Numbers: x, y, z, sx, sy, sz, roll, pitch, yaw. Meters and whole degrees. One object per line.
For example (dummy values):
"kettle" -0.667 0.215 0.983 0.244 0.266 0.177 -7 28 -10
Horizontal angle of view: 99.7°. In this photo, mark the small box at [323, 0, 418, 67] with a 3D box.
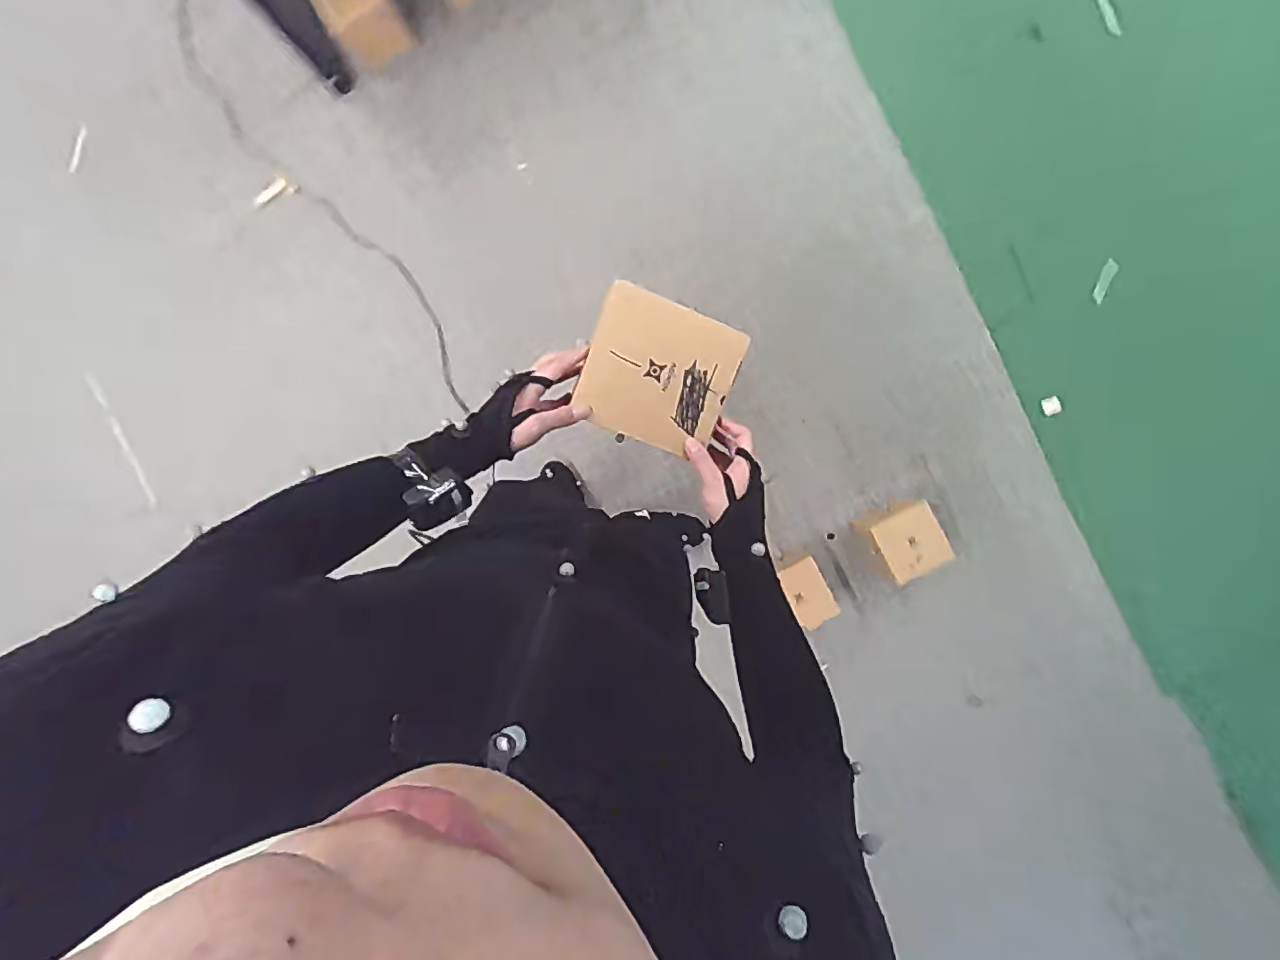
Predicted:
"small box" -0.771 -1.332 1.532 0.179 0.176 0.168 -27 90 4

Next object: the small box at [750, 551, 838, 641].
"small box" 0.426 0.319 1.520 0.168 0.176 0.179 -27 90 4

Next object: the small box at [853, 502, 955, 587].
"small box" 0.717 0.170 1.493 0.168 0.176 0.179 -27 91 5
